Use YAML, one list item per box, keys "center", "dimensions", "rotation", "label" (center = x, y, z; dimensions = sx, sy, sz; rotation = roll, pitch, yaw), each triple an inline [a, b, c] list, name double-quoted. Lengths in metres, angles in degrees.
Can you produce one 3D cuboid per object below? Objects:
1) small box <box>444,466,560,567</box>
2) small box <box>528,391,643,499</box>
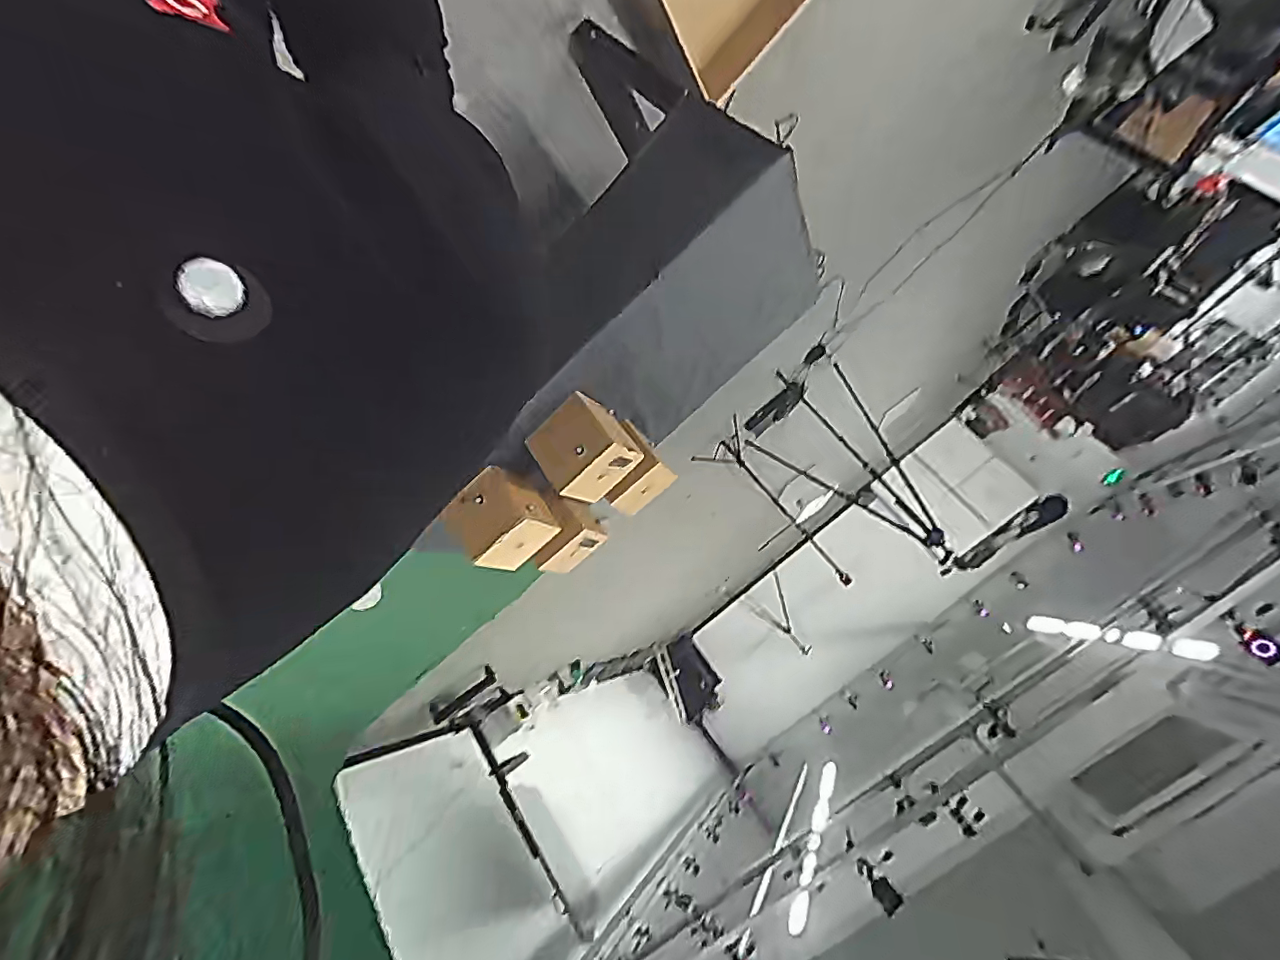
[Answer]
- center: [-0.329, 0.088, 1.297]
  dimensions: [0.168, 0.176, 0.179]
  rotation: [-42, 157, 6]
  label: "small box"
- center: [-0.130, -0.081, 1.273]
  dimensions: [0.179, 0.176, 0.168]
  rotation: [-43, 157, 12]
  label: "small box"
